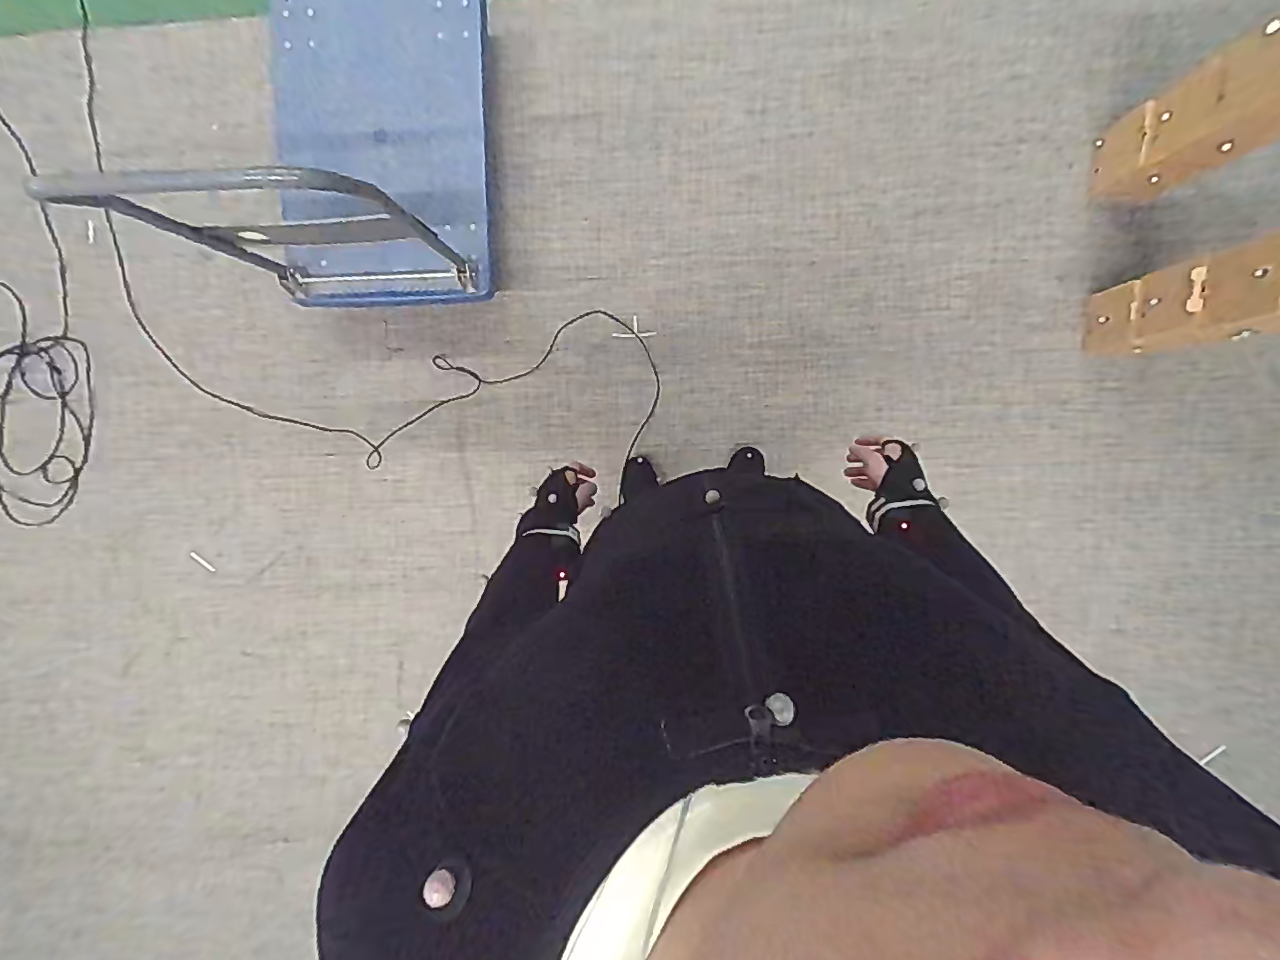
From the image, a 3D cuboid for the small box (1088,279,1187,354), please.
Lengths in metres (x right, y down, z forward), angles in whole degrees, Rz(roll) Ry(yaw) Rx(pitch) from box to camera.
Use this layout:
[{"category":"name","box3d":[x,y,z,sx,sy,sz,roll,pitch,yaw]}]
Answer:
[{"category":"small box","box3d":[1.367,-0.438,1.469,0.179,0.176,0.168,1,93,4]}]

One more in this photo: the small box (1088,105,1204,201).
[{"category":"small box","box3d":[1.366,-0.876,1.463,0.179,0.176,0.168,4,94,2]}]

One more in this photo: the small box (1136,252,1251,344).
[{"category":"small box","box3d":[1.368,-0.430,1.304,0.179,0.176,0.168,5,92,3]}]

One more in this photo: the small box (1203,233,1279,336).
[{"category":"small box","box3d":[1.359,-0.415,1.141,0.168,0.176,0.179,5,93,3]}]

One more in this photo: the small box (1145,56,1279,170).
[{"category":"small box","box3d":[1.371,-0.862,1.284,0.179,0.176,0.168,4,94,3]}]
